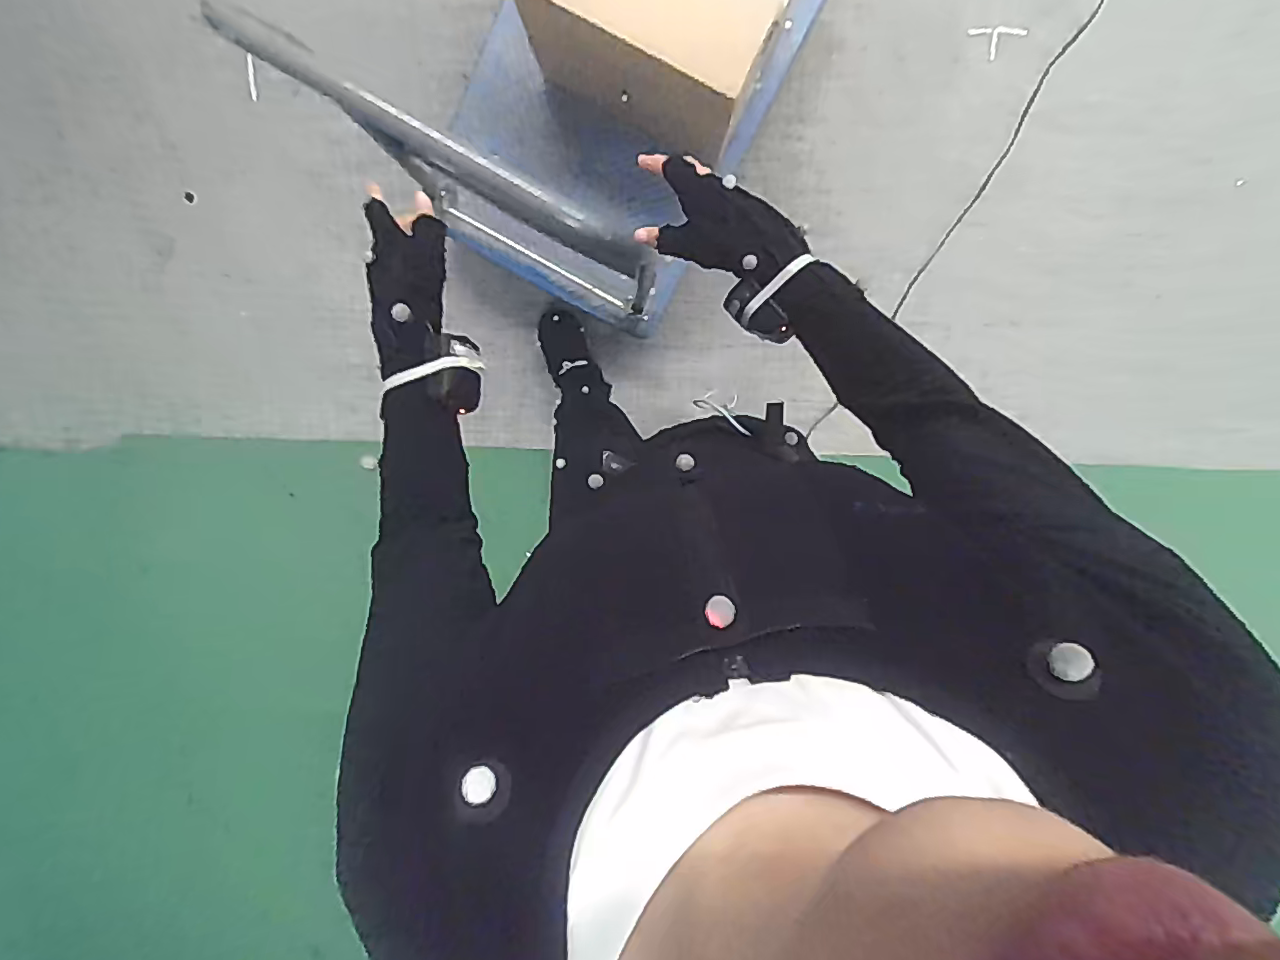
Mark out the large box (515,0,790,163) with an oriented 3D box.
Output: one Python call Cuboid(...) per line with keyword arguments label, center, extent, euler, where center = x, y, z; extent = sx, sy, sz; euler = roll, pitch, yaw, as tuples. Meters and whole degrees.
Cuboid(label="large box", center=(0.043, -0.850, 0.960), extent=(0.408, 0.320, 0.320), euler=(26, 101, -3))
